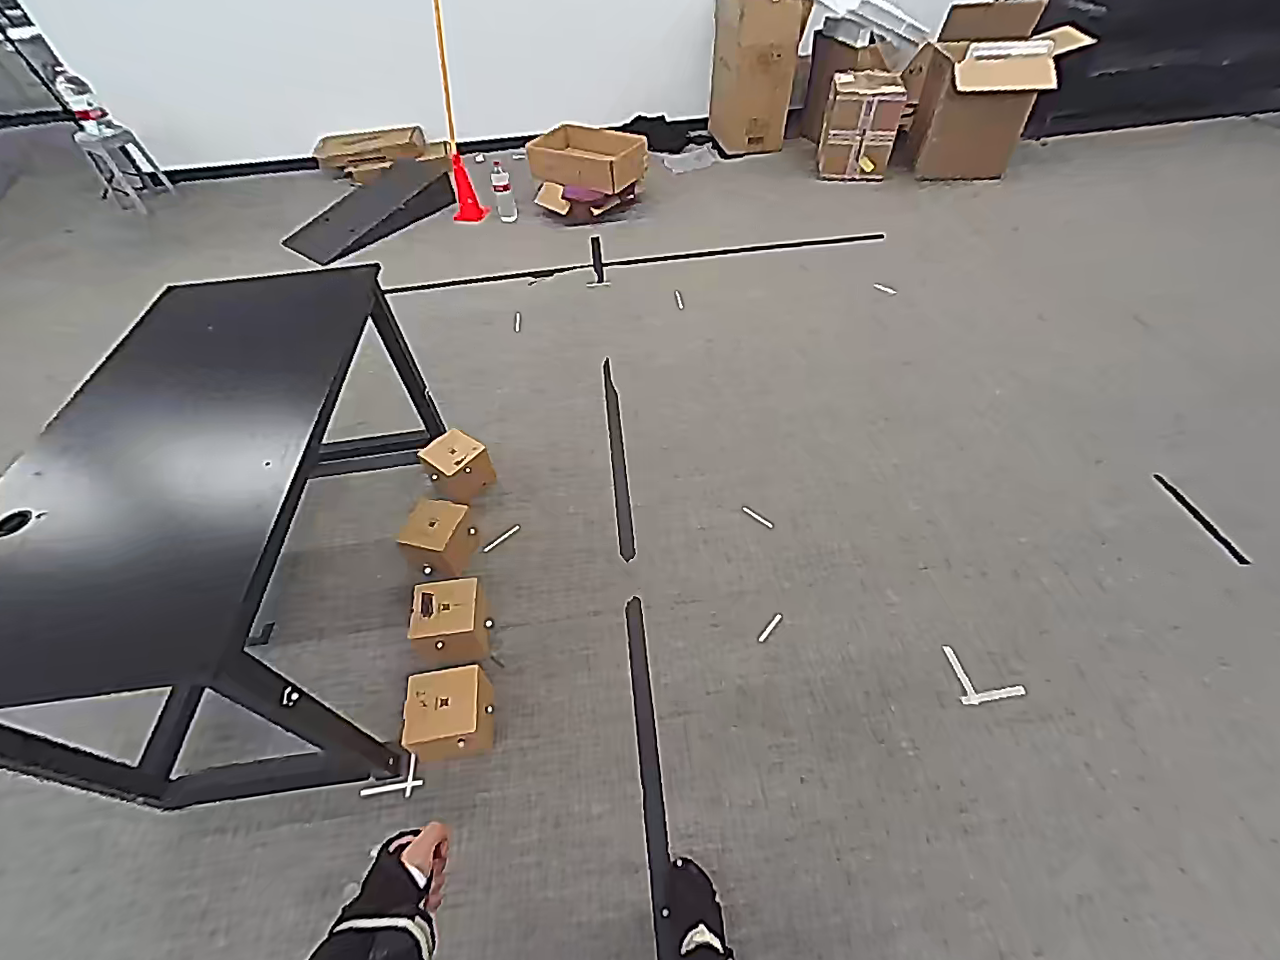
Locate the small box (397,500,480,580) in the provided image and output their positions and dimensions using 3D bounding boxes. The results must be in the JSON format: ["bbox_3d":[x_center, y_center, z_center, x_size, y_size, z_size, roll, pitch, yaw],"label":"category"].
[{"bbox_3d":[-0.633,0.194,1.727,0.168,0.176,0.179,9,52,12],"label":"small box"}]

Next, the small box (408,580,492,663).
[{"bbox_3d":[-0.533,0.407,1.538,0.179,0.176,0.168,-7,50,-4],"label":"small box"}]

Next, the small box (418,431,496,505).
[{"bbox_3d":[-0.645,-0.039,1.921,0.179,0.176,0.168,28,57,25],"label":"small box"}]
